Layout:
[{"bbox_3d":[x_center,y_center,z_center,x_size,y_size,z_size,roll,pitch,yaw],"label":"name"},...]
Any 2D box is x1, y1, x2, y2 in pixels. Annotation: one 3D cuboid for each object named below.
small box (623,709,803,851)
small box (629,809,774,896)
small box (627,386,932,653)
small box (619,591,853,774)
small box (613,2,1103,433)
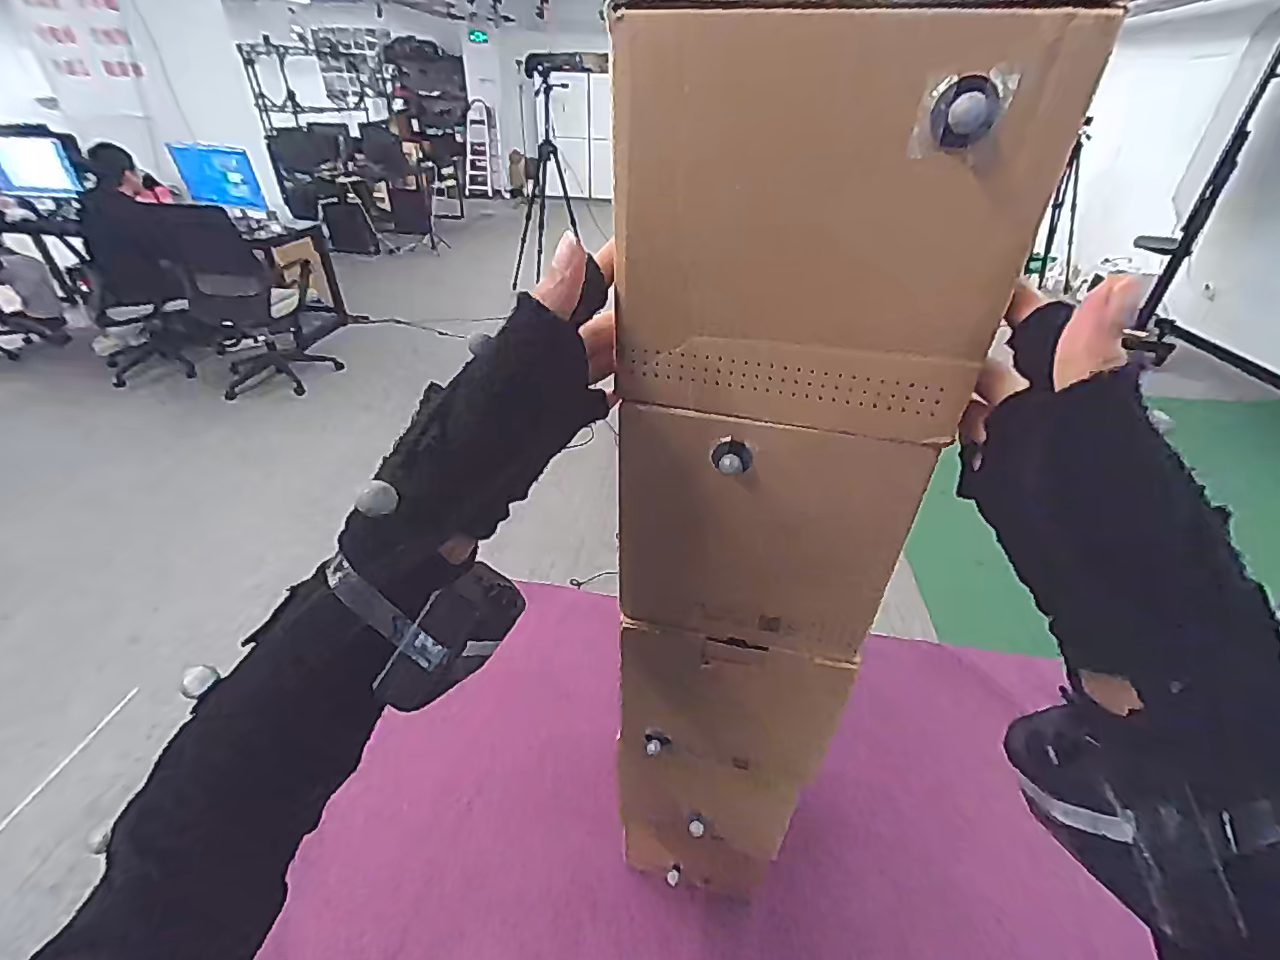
[{"bbox_3d":[0.078,0.258,0.589,0.168,0.176,0.179,7,35,9],"label":"small box"},{"bbox_3d":[0.082,0.384,0.694,0.168,0.176,0.179,8,36,10],"label":"small box"},{"bbox_3d":[0.087,-0.007,0.399,0.168,0.176,0.179,9,36,11],"label":"small box"},{"bbox_3d":[0.083,0.129,0.488,0.168,0.176,0.179,8,35,10],"label":"small box"},{"bbox_3d":[0.091,-0.142,0.304,0.179,0.176,0.168,11,36,12],"label":"small box"}]
